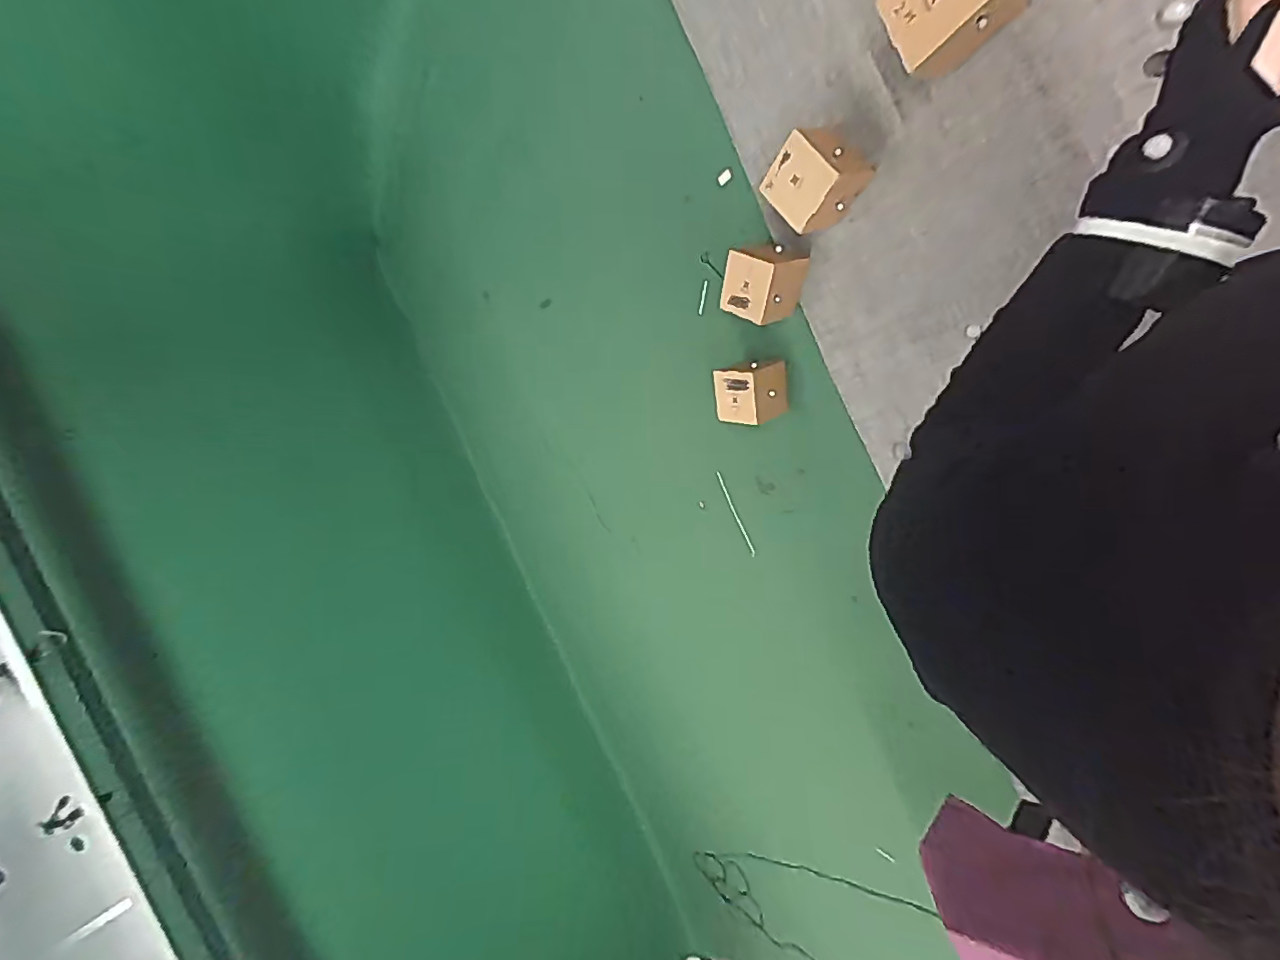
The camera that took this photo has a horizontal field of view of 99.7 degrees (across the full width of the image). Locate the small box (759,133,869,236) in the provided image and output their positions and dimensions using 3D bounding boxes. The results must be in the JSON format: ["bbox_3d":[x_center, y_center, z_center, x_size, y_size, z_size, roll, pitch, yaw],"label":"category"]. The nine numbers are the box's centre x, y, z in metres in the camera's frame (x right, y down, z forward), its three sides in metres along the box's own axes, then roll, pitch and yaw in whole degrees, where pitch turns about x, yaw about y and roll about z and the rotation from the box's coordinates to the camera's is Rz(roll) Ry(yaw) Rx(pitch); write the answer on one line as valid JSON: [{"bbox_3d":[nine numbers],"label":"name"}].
[{"bbox_3d":[0.452,-0.768,1.398,0.179,0.176,0.168,55,144,12],"label":"small box"}]

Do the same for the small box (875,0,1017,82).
[{"bbox_3d":[0.615,-0.940,1.078,0.179,0.176,0.168,-25,90,55],"label":"small box"}]

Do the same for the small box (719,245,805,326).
[{"bbox_3d":[0.367,-0.588,1.621,0.168,0.176,0.179,37,136,34],"label":"small box"}]
